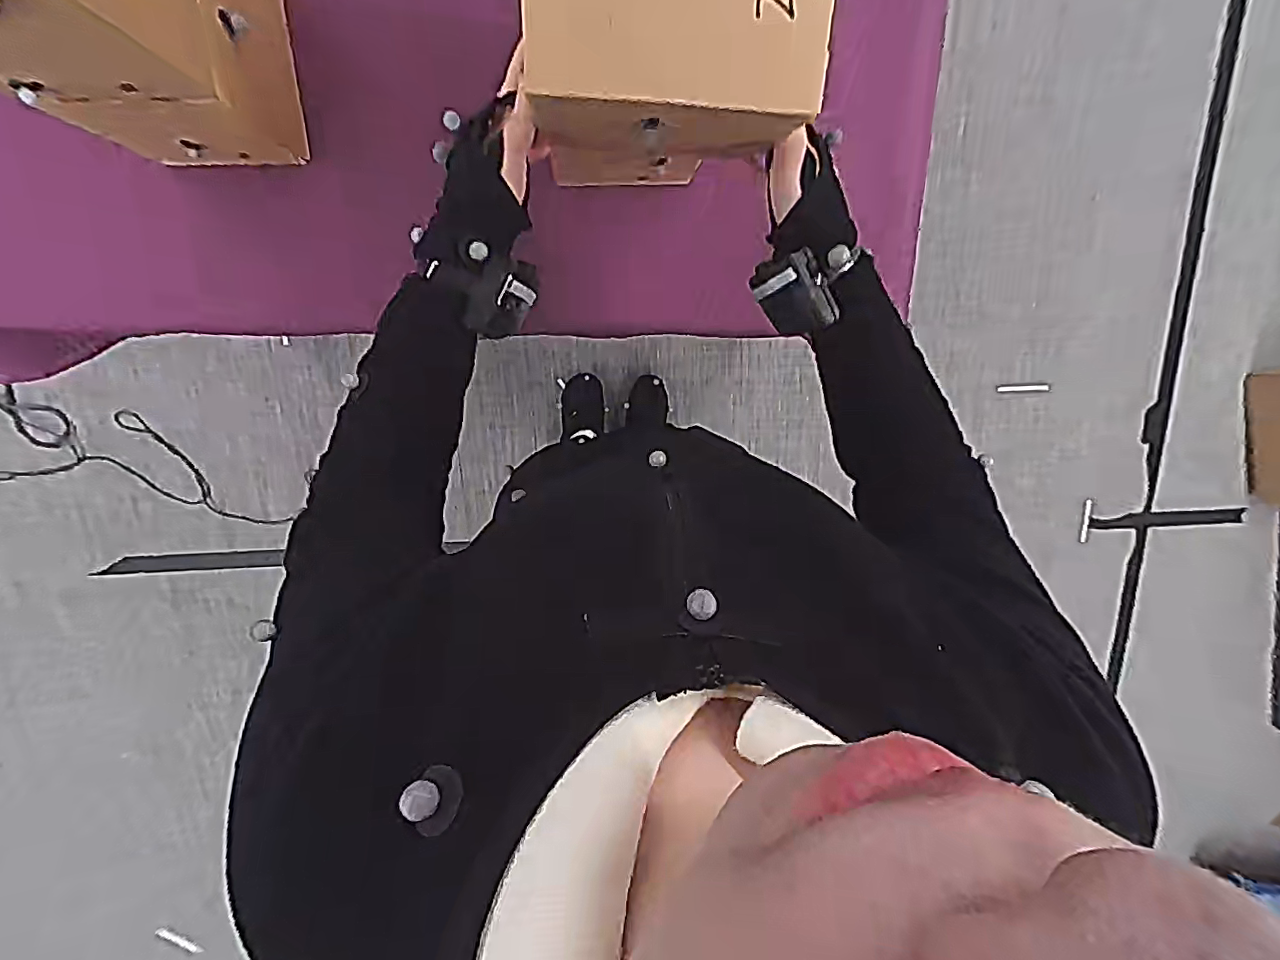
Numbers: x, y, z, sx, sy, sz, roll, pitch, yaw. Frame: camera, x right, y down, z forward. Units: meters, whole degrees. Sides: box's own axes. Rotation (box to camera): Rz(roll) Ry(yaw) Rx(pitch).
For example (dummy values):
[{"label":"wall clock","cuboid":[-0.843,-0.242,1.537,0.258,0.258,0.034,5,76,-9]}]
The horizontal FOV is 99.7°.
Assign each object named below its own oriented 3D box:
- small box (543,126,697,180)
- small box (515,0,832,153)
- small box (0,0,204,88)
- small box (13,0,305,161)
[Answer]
[{"label":"small box","cuboid":[-0.017,-0.432,0.569,0.168,0.176,0.179,-3,104,-5]},{"label":"small box","cuboid":[0.015,-0.325,0.353,0.179,0.176,0.168,0,113,-7]},{"label":"small box","cuboid":[-0.451,-0.398,0.370,0.168,0.176,0.179,-5,104,-5]},{"label":"small box","cuboid":[-0.464,-0.438,0.529,0.168,0.176,0.179,-3,105,-5]}]
